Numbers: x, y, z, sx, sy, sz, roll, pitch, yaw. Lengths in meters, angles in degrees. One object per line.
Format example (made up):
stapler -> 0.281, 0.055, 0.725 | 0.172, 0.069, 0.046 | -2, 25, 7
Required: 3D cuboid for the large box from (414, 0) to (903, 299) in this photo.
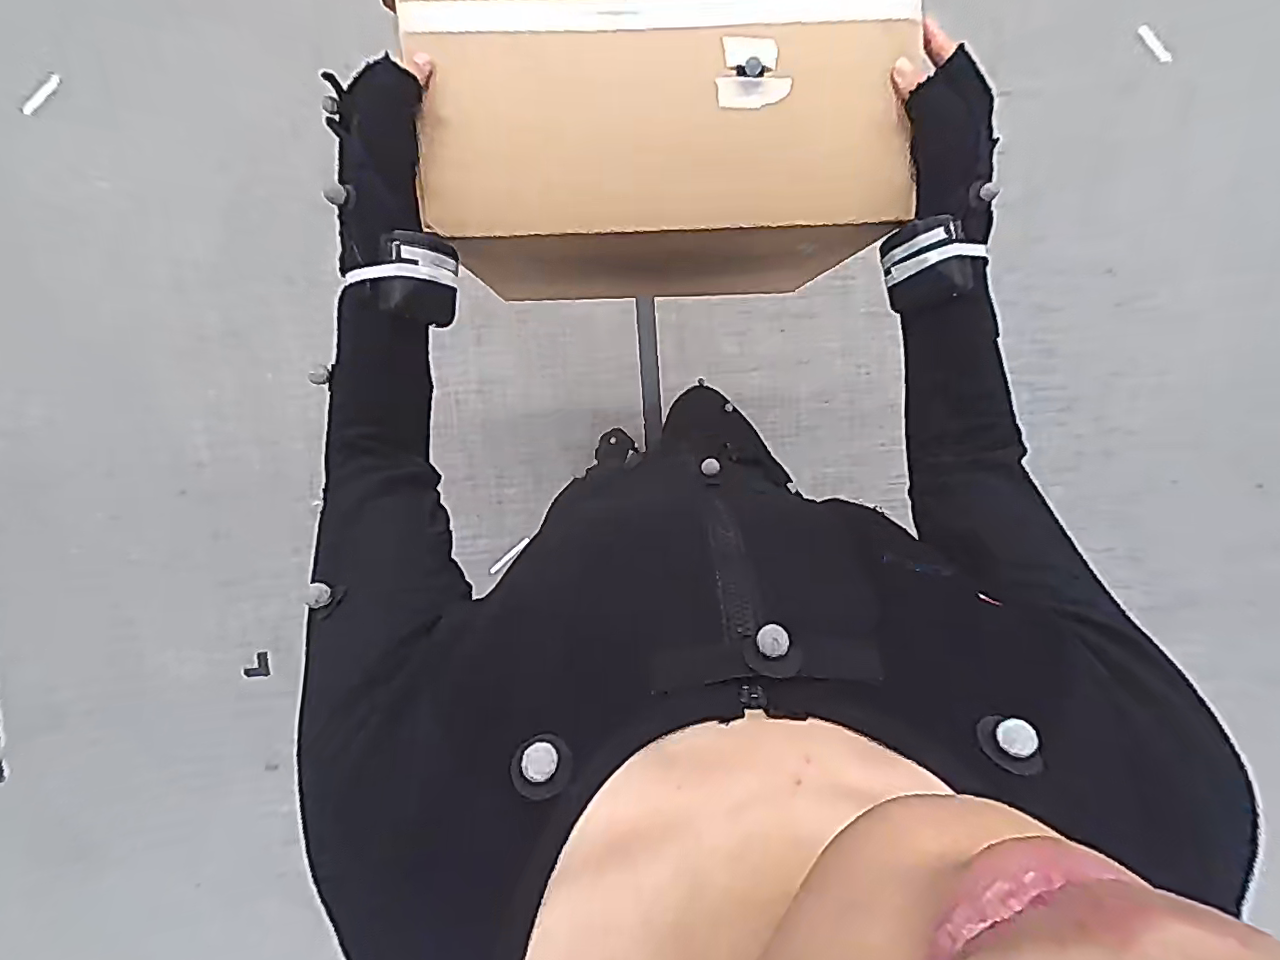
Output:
large box -> 0.010, -0.391, 0.585 | 0.408, 0.320, 0.320 | -3, 99, -2
